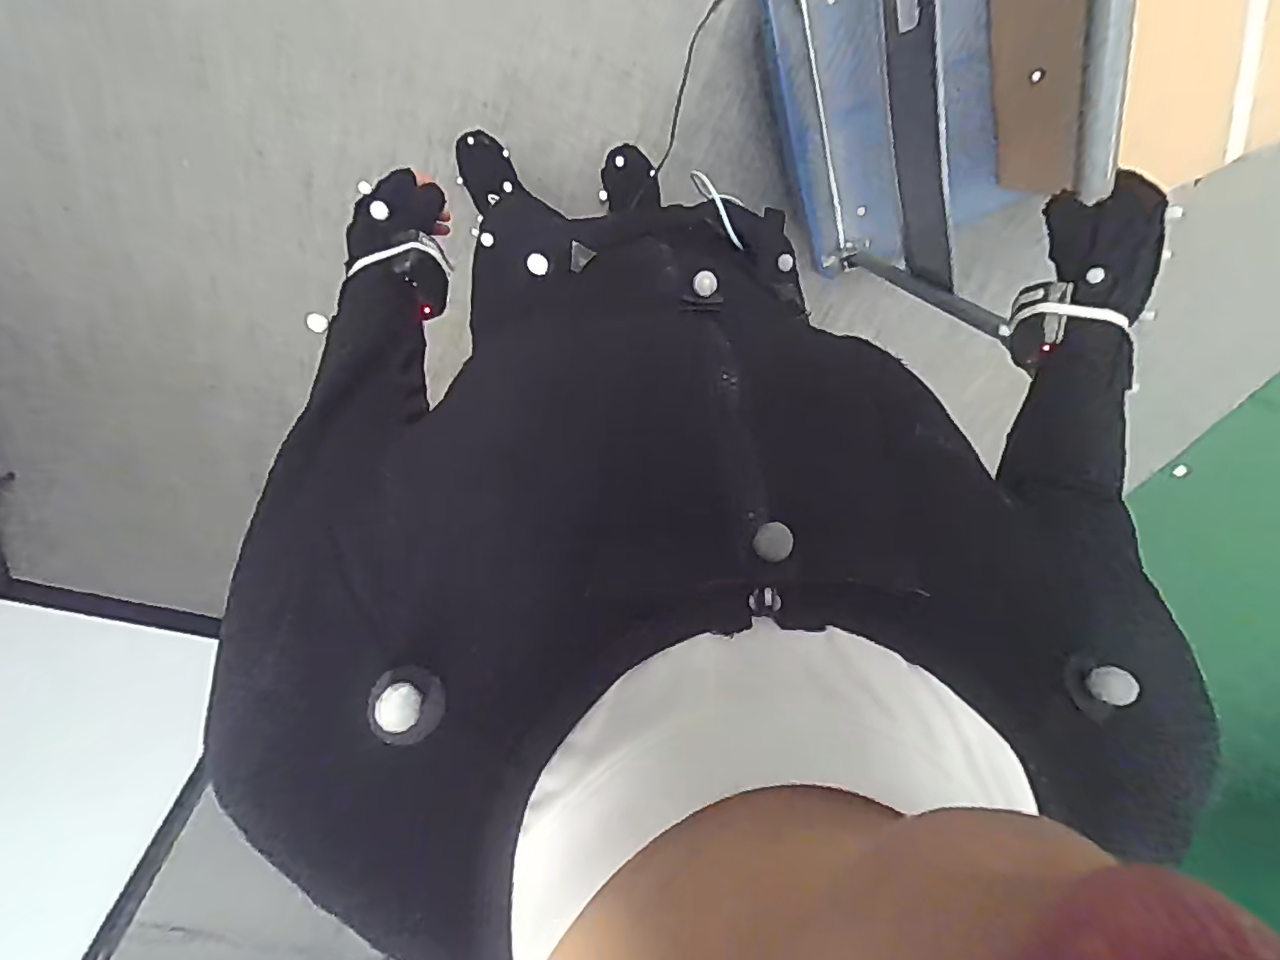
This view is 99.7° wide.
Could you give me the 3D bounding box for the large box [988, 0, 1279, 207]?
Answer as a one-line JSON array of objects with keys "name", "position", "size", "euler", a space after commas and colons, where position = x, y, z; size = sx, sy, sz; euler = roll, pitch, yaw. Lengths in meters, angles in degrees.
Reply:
[{"name": "large box", "position": [0.782, -0.708, 0.827], "size": [0.320, 0.320, 0.408], "euler": [-23, 123, 11]}]
